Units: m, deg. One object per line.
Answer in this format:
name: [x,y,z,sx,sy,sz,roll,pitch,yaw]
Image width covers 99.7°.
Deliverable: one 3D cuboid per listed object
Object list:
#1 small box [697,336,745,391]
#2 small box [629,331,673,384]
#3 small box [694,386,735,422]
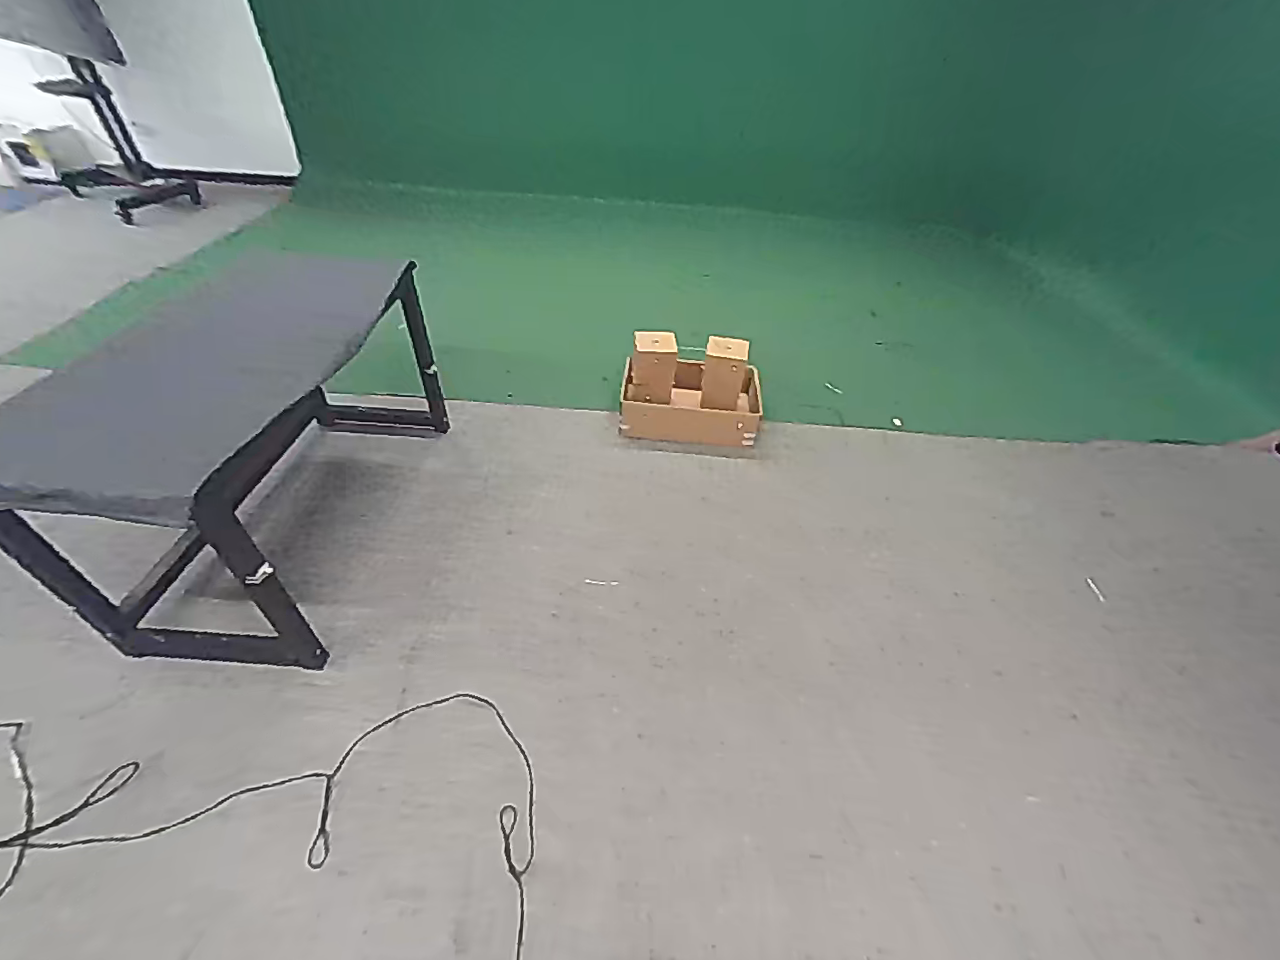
small box: [0.353,-0.506,2.365,0.179,0.176,0.168,10,44,7]
small box: [0.042,-0.537,2.369,0.179,0.176,0.168,1,45,-7]
small box: [0.344,-0.391,2.482,0.168,0.176,0.179,10,45,6]
